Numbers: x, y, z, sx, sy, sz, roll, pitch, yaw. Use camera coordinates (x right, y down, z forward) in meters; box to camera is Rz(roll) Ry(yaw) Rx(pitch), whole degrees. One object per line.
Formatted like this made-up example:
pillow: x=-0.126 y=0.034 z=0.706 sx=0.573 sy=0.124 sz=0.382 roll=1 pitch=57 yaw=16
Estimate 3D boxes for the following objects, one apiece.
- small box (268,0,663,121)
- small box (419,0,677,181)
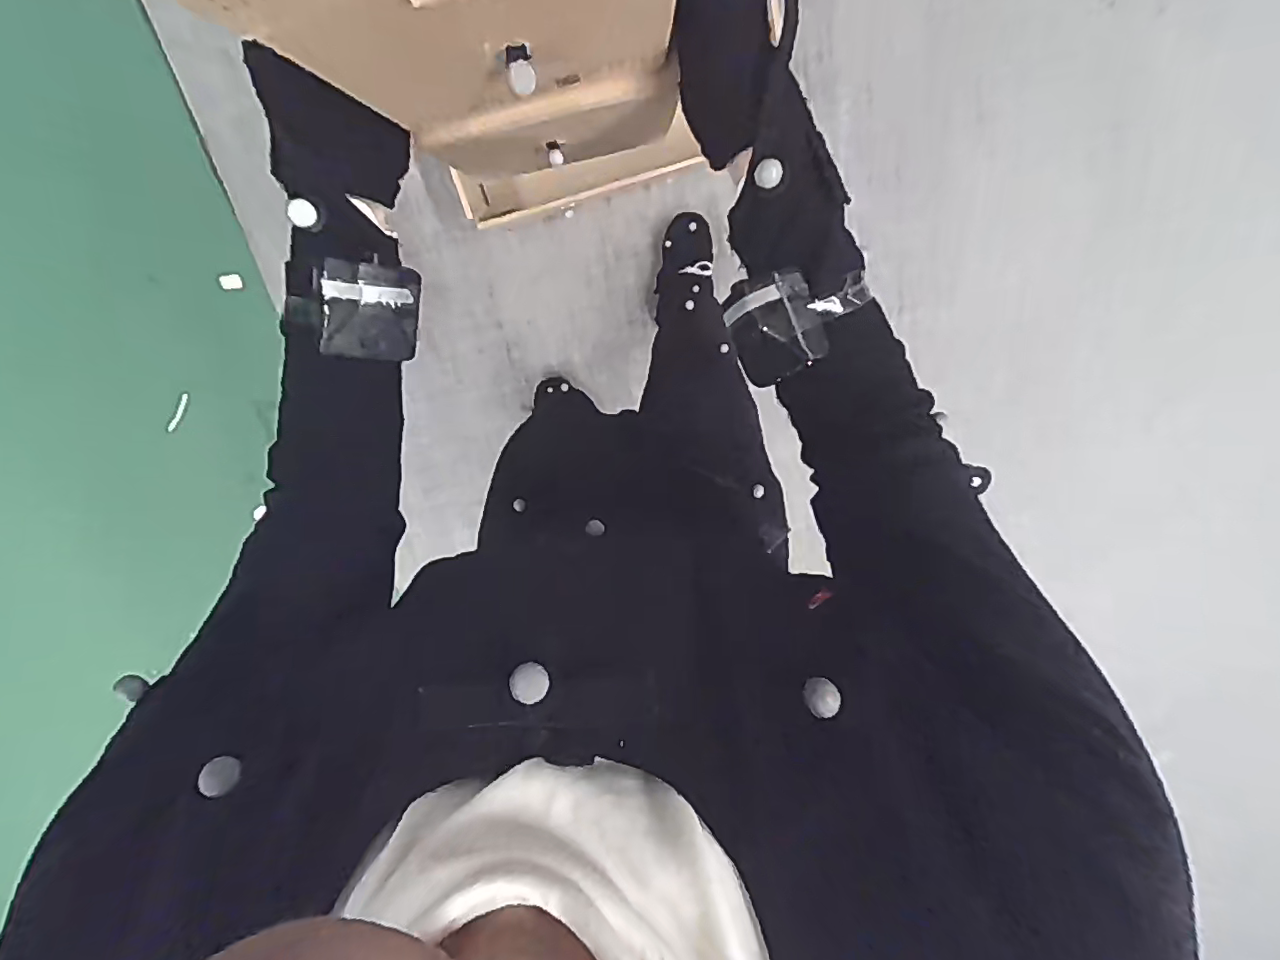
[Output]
small box: x=-0.085 y=-0.299 z=0.256 sx=0.168 sy=0.176 sz=0.179 roll=-14 pitch=110 yaw=6
small box: x=-0.075 y=-0.345 z=0.411 sx=0.179 sy=0.176 sz=0.168 roll=-10 pitch=110 yaw=4
